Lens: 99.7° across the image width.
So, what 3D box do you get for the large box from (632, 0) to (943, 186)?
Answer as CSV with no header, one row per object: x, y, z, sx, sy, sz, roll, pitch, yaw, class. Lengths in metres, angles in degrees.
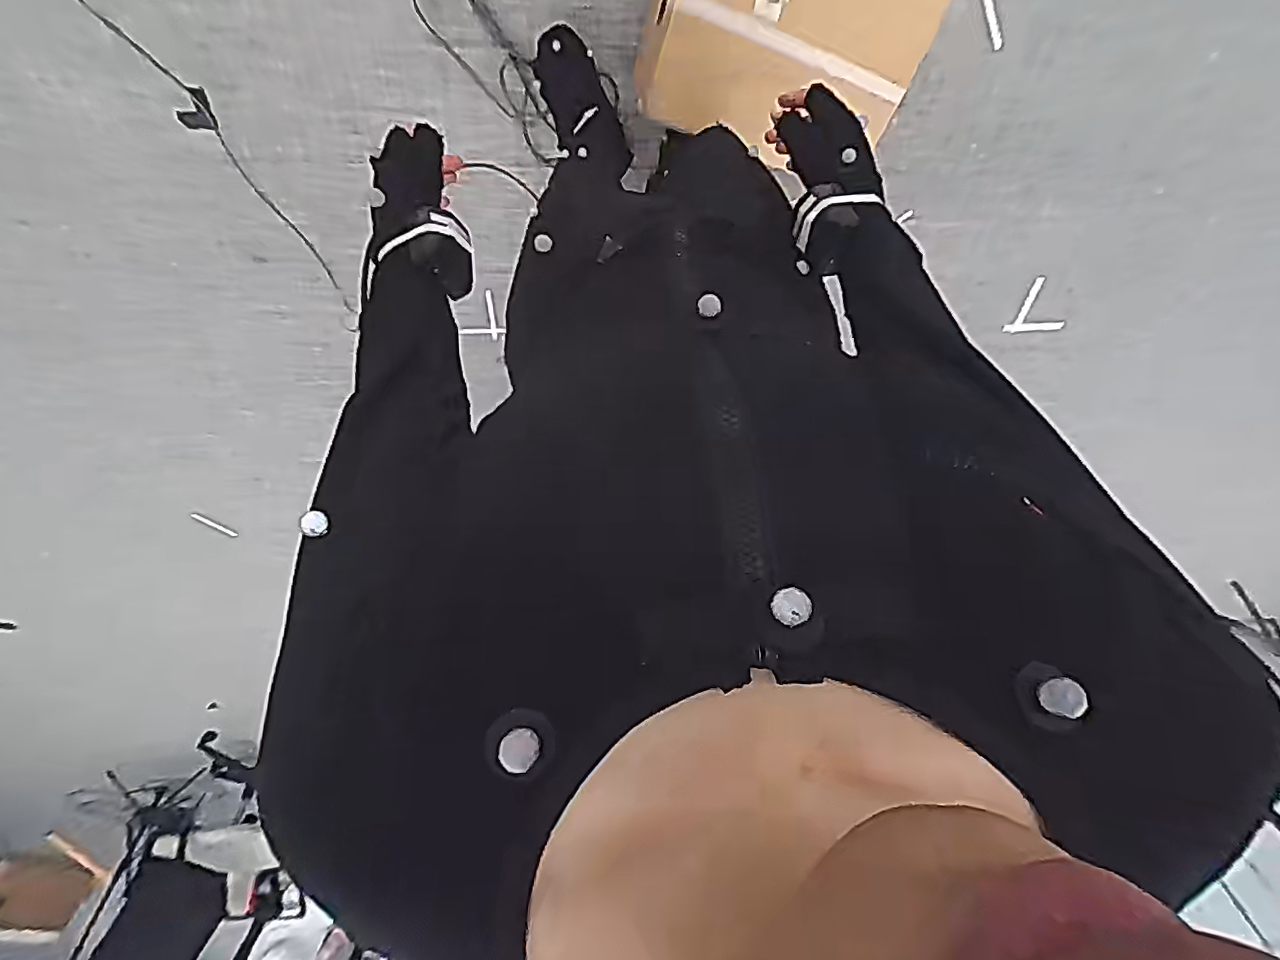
0.226,-0.786,0.948,0.408,0.320,0.320,13,131,-16,large box
